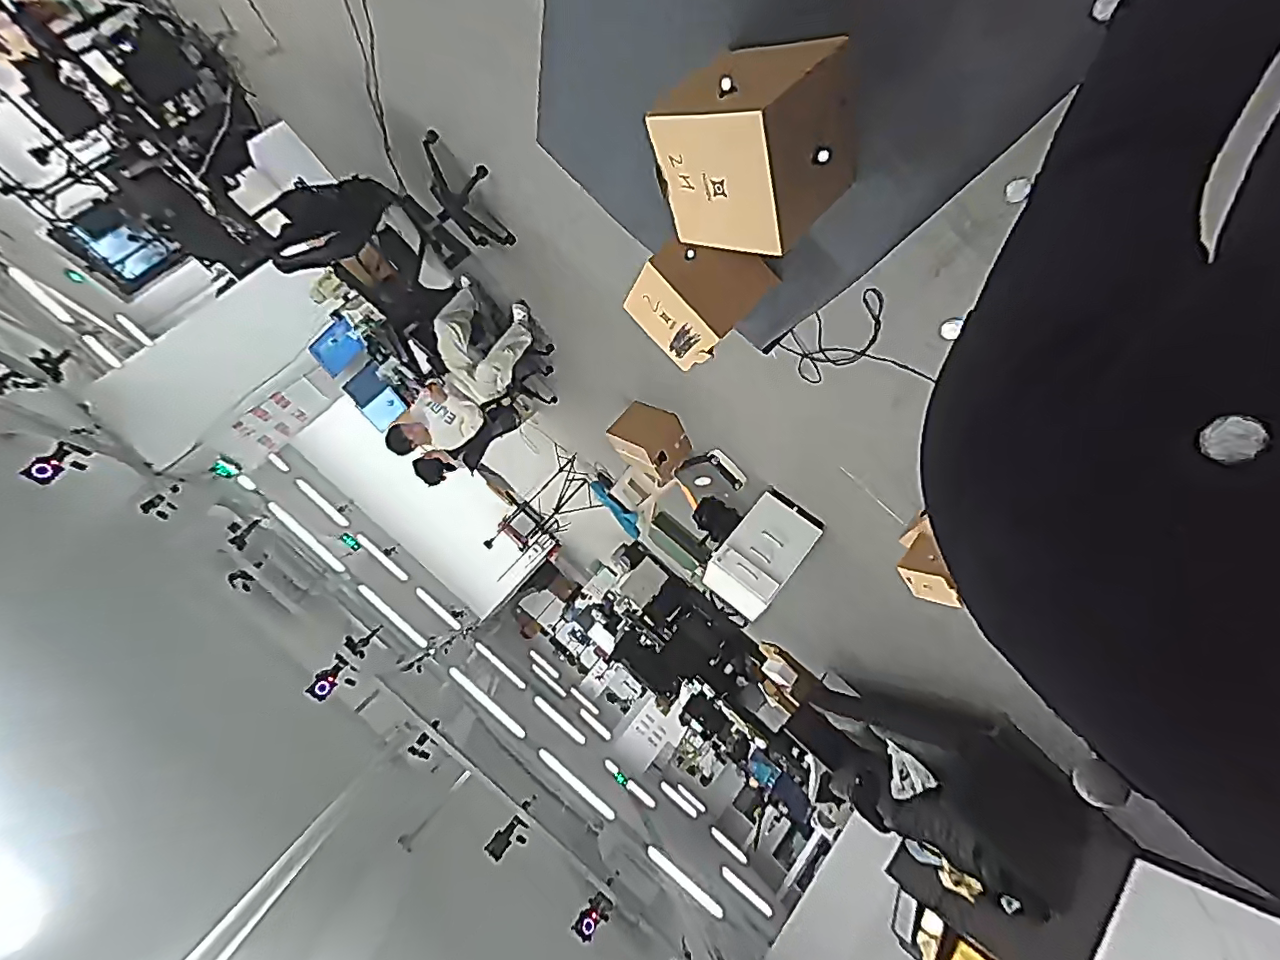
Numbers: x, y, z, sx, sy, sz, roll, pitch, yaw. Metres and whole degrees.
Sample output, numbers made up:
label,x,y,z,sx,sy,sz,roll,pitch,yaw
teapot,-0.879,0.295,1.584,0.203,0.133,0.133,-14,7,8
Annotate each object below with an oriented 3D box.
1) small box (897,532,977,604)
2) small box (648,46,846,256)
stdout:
label,x,y,z,sx,sy,sz,roll,pitch,yaw
small box,1.047,0.302,1.894,0.168,0.176,0.179,50,160,-22
small box,0.145,-0.415,0.685,0.179,0.176,0.168,30,158,38
